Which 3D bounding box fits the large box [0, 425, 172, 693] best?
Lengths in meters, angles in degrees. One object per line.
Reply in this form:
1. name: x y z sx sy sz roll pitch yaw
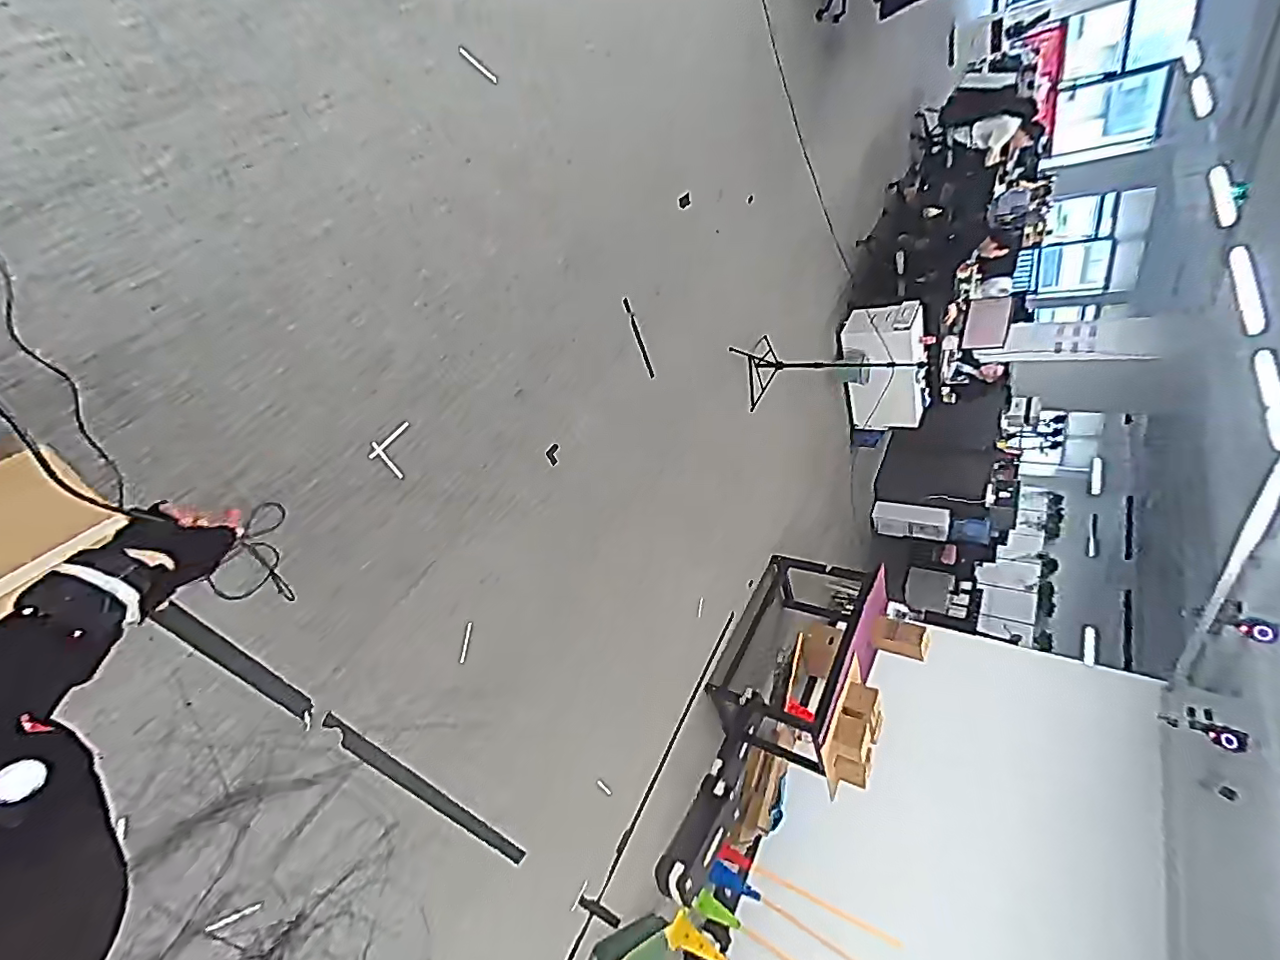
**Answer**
1. large box: -1.113 0.151 0.875 0.408 0.320 0.320 -47 131 -37
